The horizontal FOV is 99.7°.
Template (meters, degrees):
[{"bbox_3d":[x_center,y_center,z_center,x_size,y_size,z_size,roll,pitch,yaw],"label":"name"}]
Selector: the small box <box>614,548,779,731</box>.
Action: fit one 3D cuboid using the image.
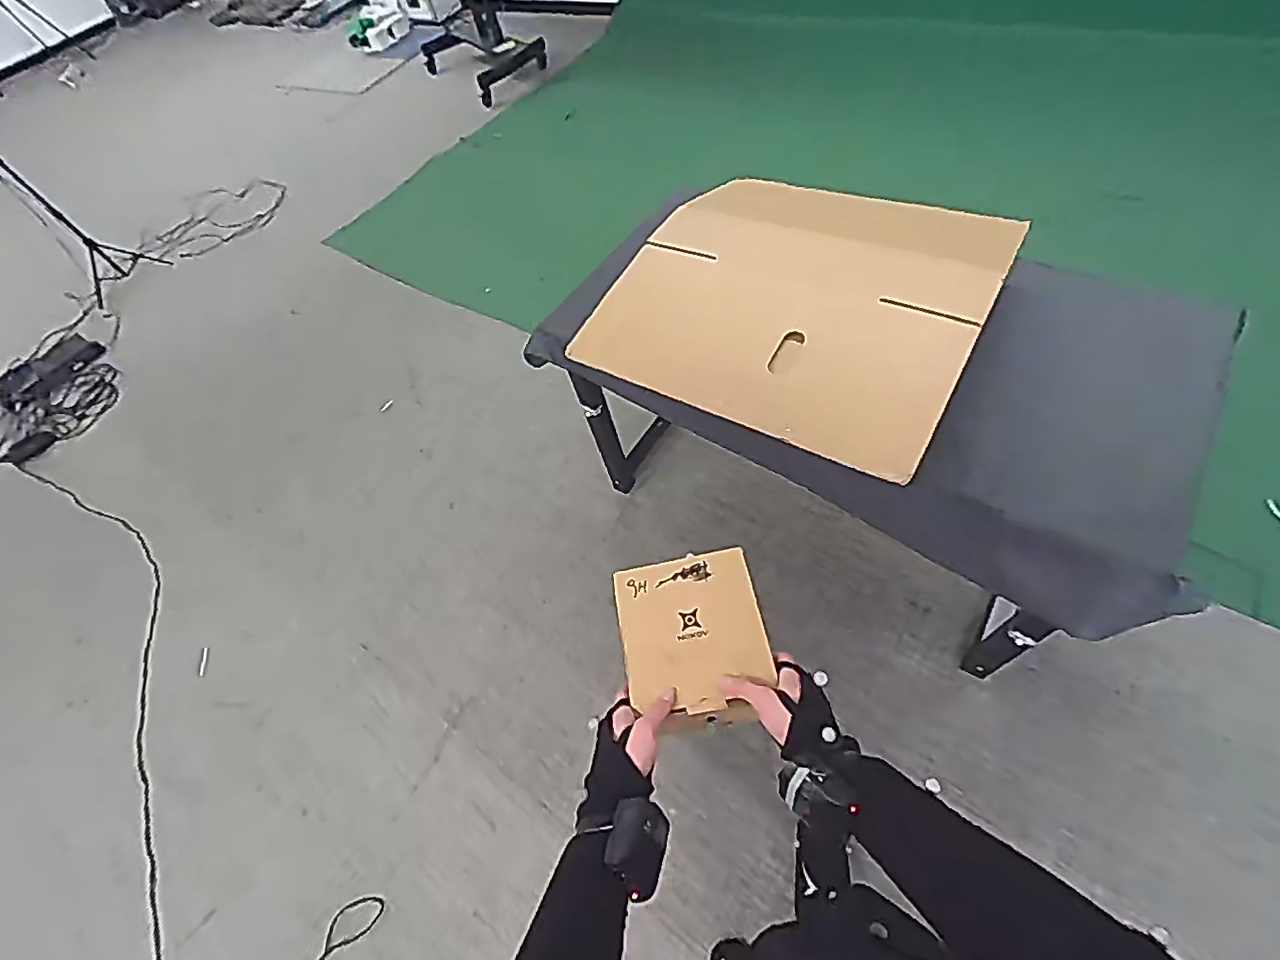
[{"bbox_3d":[0.074,0.215,0.701,0.168,0.176,0.179,-14,57,2],"label":"small box"}]
